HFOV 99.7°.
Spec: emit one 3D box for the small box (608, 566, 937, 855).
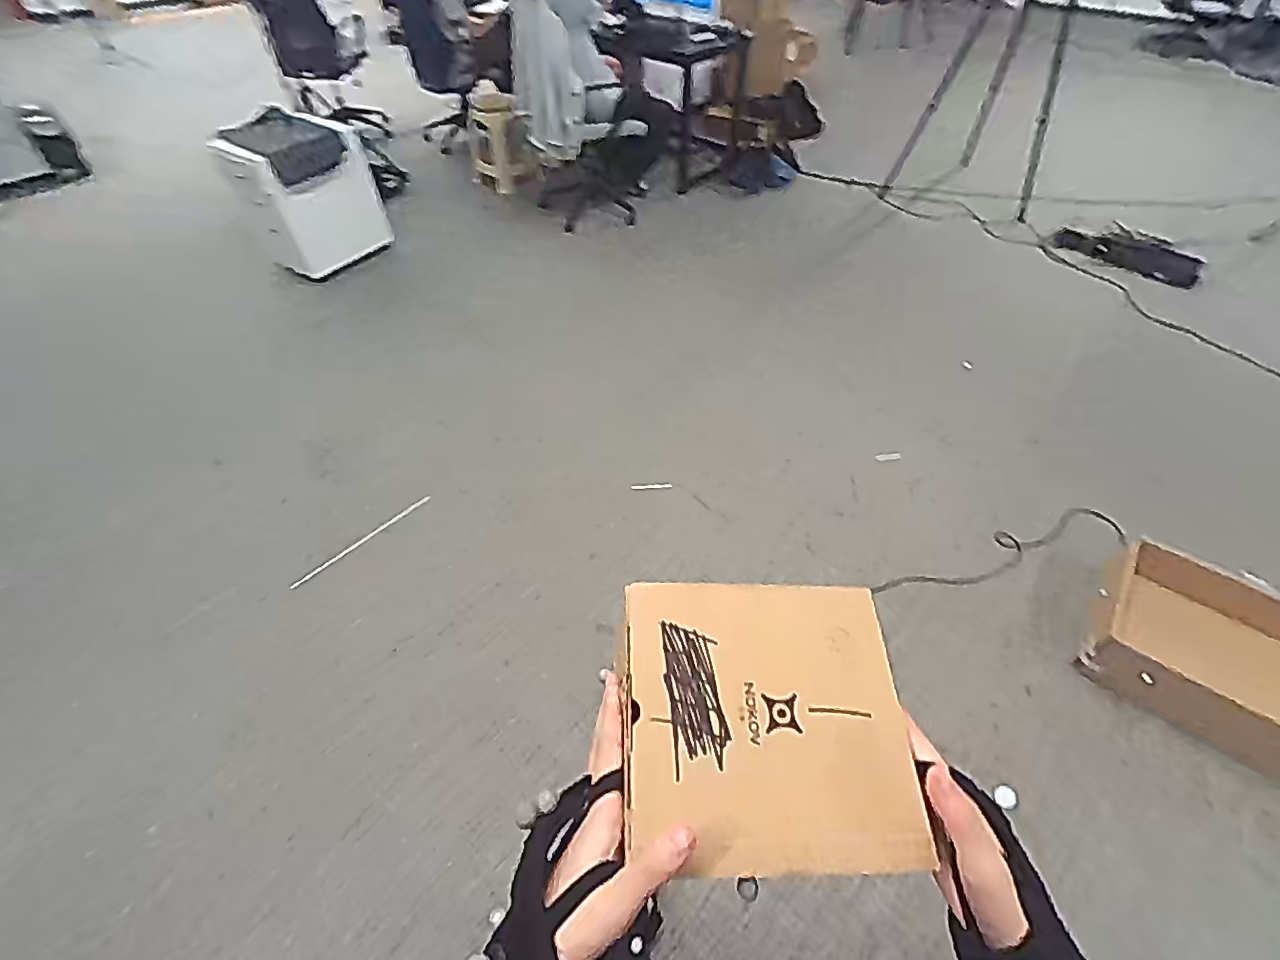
[{"bbox_3d":[0.070,0.175,0.399,0.179,0.176,0.168,4,57,-7],"label":"small box"}]
